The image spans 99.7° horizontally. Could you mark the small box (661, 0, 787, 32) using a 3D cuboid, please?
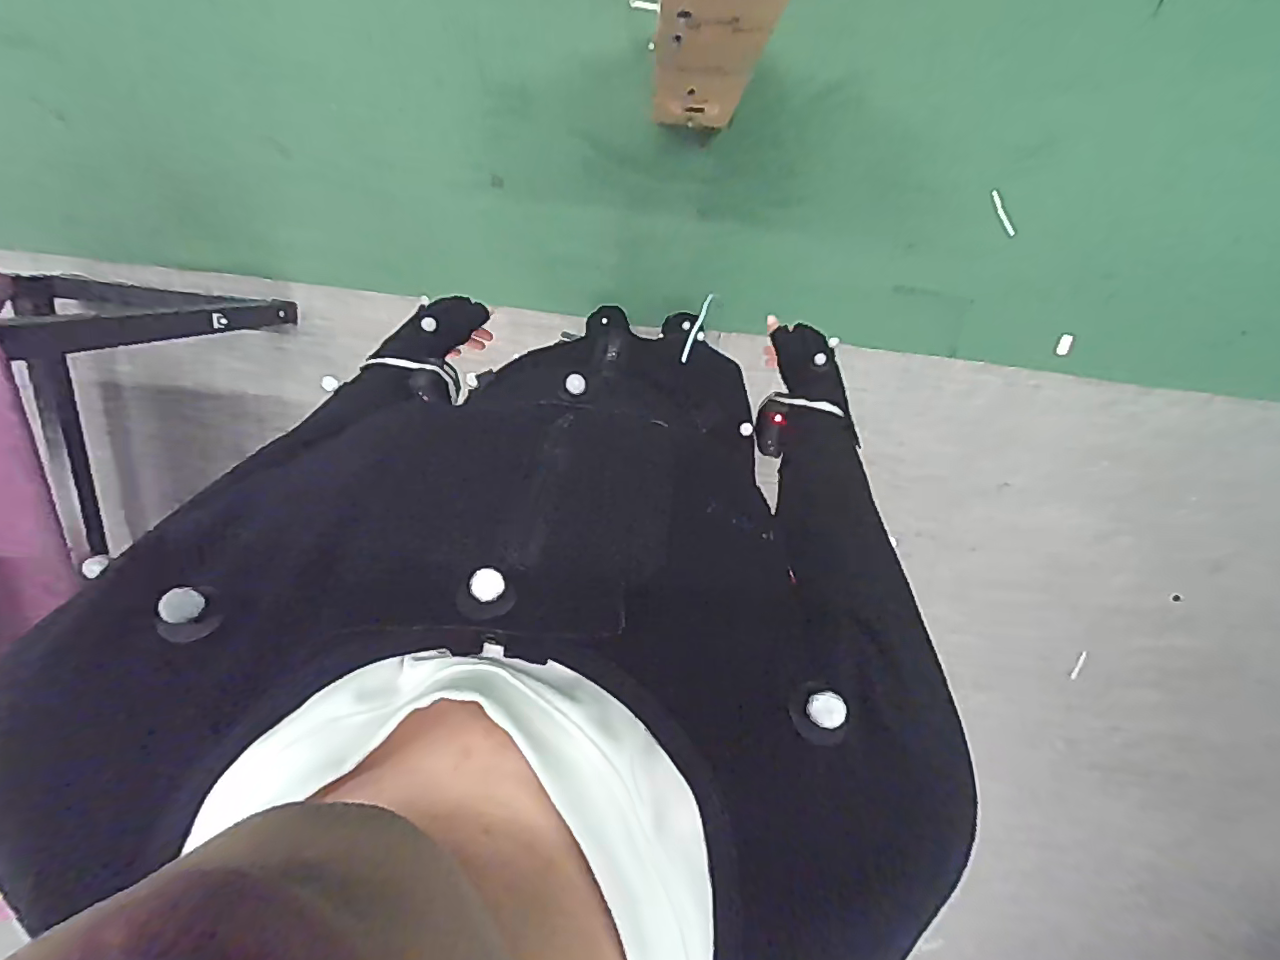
[{"bbox_3d":[0.114,-0.686,0.658,0.168,0.176,0.179,2,109,-1],"label":"small box"}]

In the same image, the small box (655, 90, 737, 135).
[{"bbox_3d":[0.121,-0.847,1.122,0.168,0.176,0.179,5,109,-1],"label":"small box"}]

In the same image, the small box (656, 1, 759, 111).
[{"bbox_3d":[0.117,-0.793,0.969,0.168,0.176,0.179,3,111,-1],"label":"small box"}]
